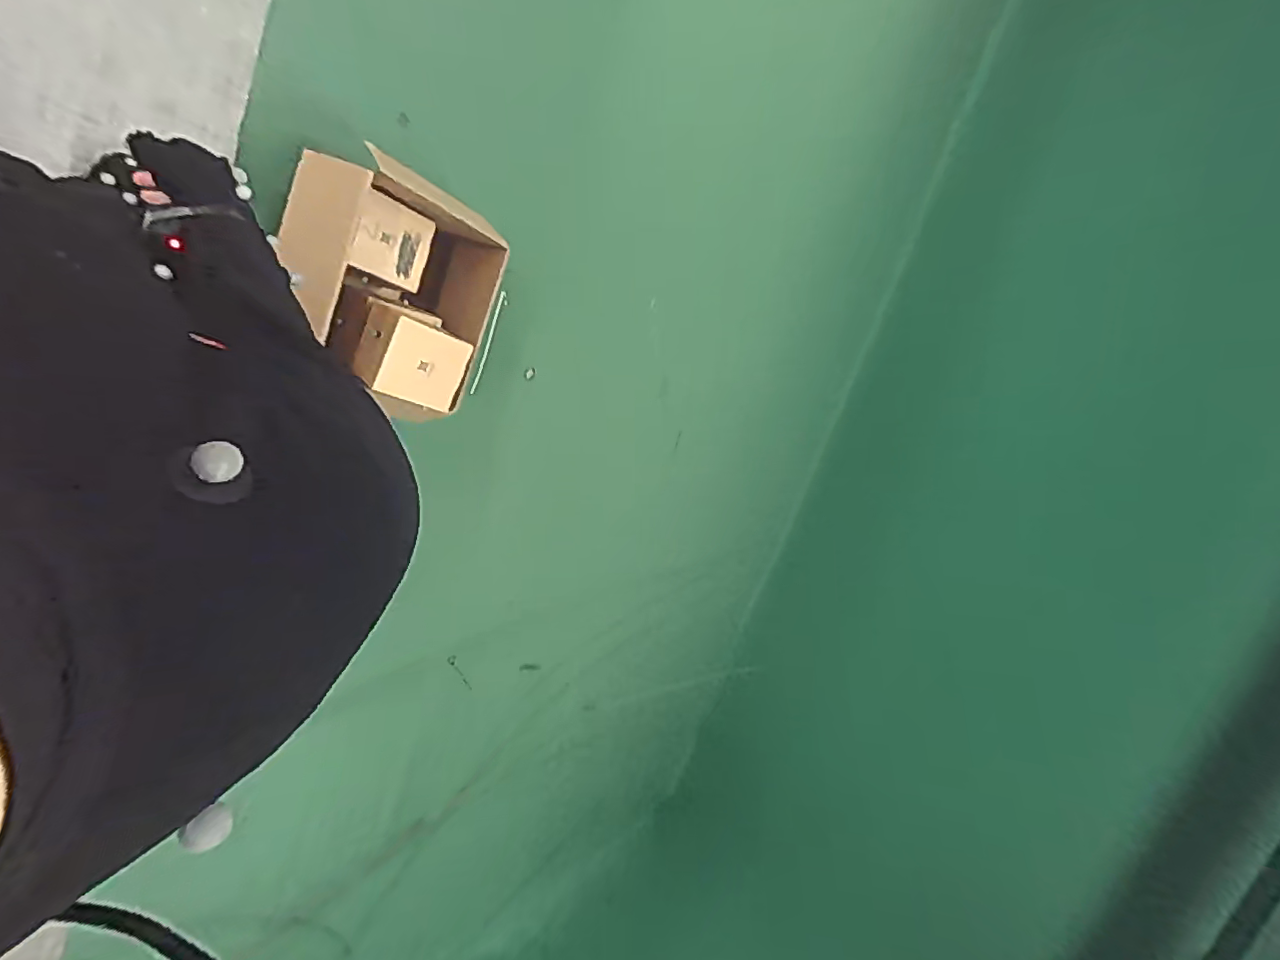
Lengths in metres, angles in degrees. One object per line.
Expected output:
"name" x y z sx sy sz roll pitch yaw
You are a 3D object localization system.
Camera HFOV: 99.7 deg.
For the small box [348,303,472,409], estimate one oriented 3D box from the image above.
"small box" -0.515 -0.278 1.201 0.179 0.176 0.168 16 102 -51
